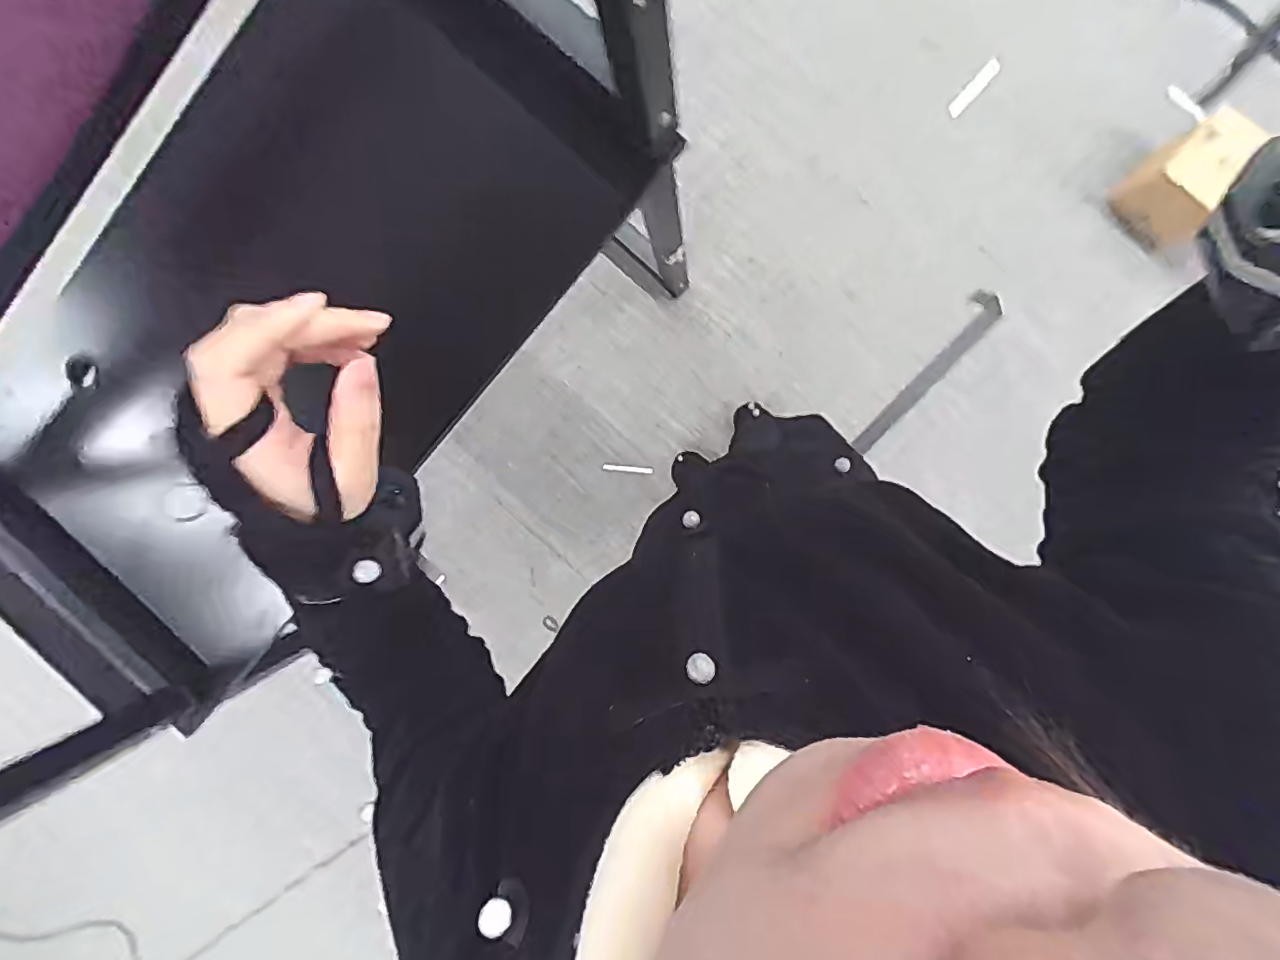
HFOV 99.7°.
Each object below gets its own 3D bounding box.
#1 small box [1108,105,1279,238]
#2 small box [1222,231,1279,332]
[{"bbox_3d":[1.226,-0.670,1.207,0.179,0.176,0.168,42,98,0],"label":"small box"},{"bbox_3d":[1.482,-0.454,1.204,0.168,0.176,0.179,35,98,1],"label":"small box"}]
